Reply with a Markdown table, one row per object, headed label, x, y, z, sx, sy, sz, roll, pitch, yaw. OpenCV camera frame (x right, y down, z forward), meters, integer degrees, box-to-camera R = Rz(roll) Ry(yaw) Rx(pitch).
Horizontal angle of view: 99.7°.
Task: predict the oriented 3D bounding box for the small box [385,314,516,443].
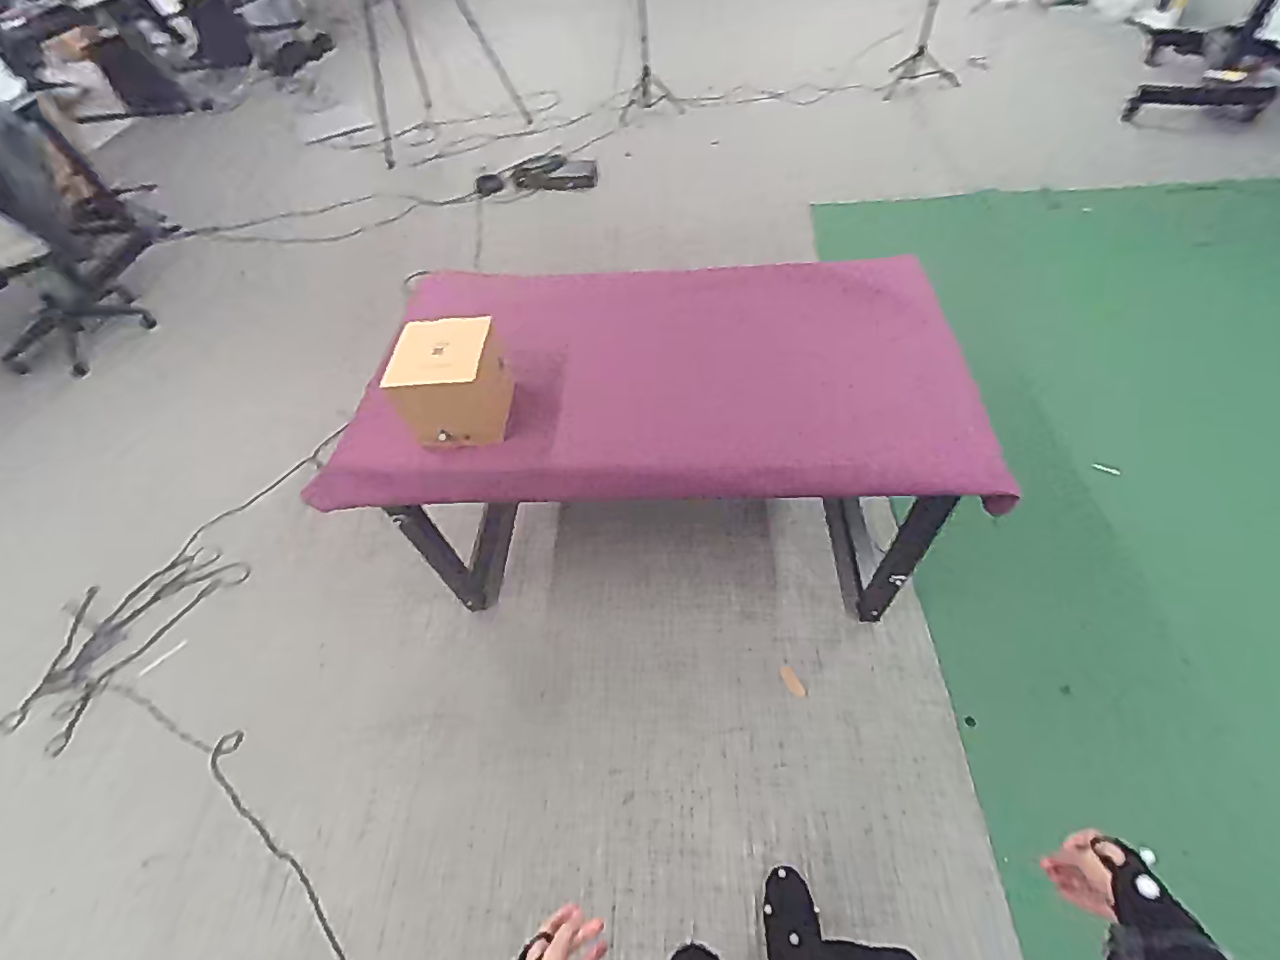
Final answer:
| label | x | y | z | sx | sy | sz | roll | pitch | yaw |
| --- | --- | --- | --- | --- | --- | --- | --- | --- | --- |
| small box | -0.342 | -0.189 | 1.020 | 0.168 | 0.176 | 0.179 | -2 | 54 | 5 |
